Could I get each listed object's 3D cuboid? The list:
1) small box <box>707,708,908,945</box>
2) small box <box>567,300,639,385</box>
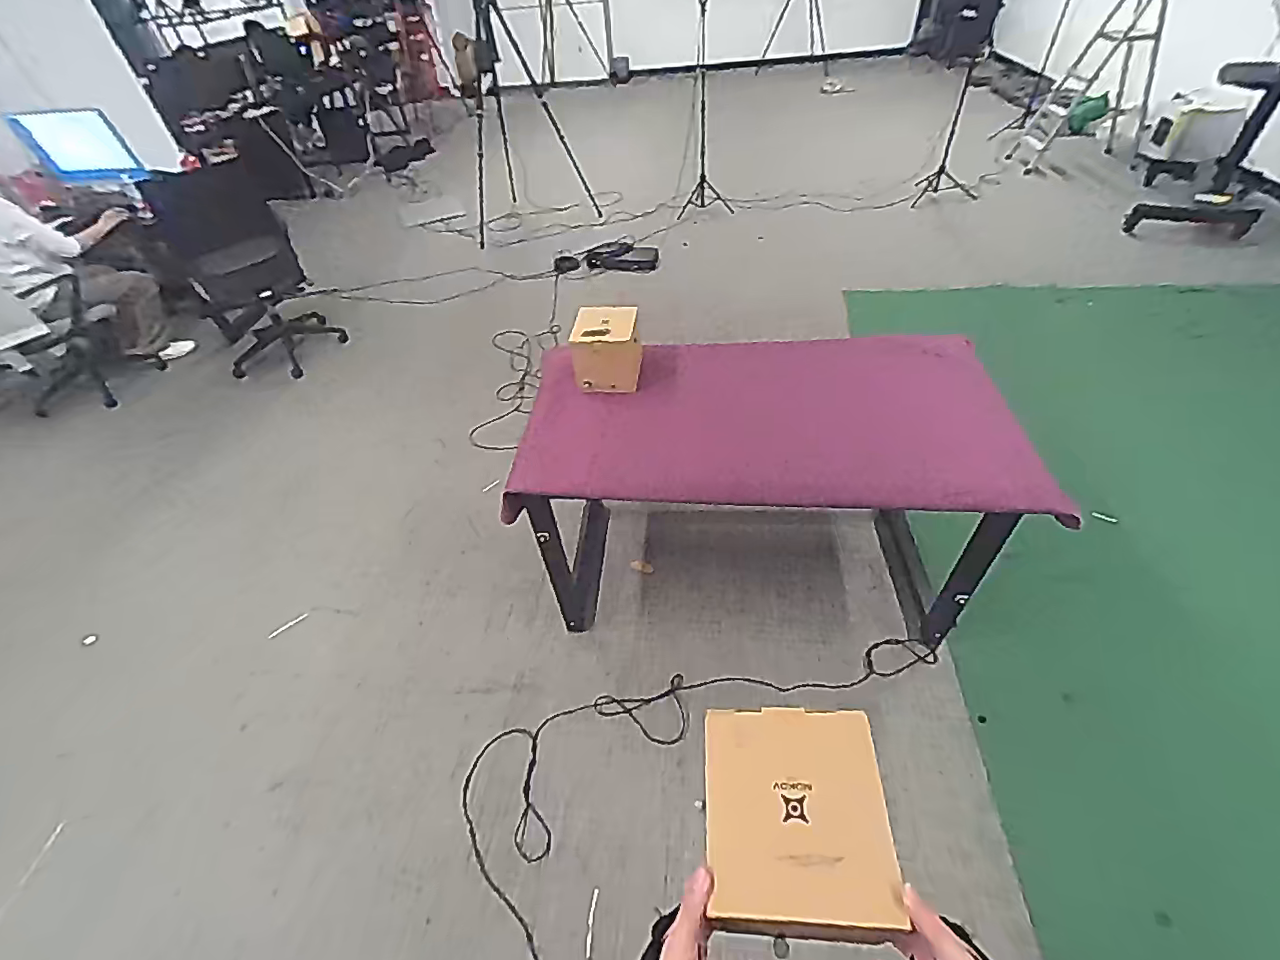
[{"bbox_3d":[0.155,0.359,0.563,0.168,0.176,0.179,-2,48,9],"label":"small box"},{"bbox_3d":[-0.094,-0.377,1.490,0.168,0.176,0.179,3,48,6],"label":"small box"}]
